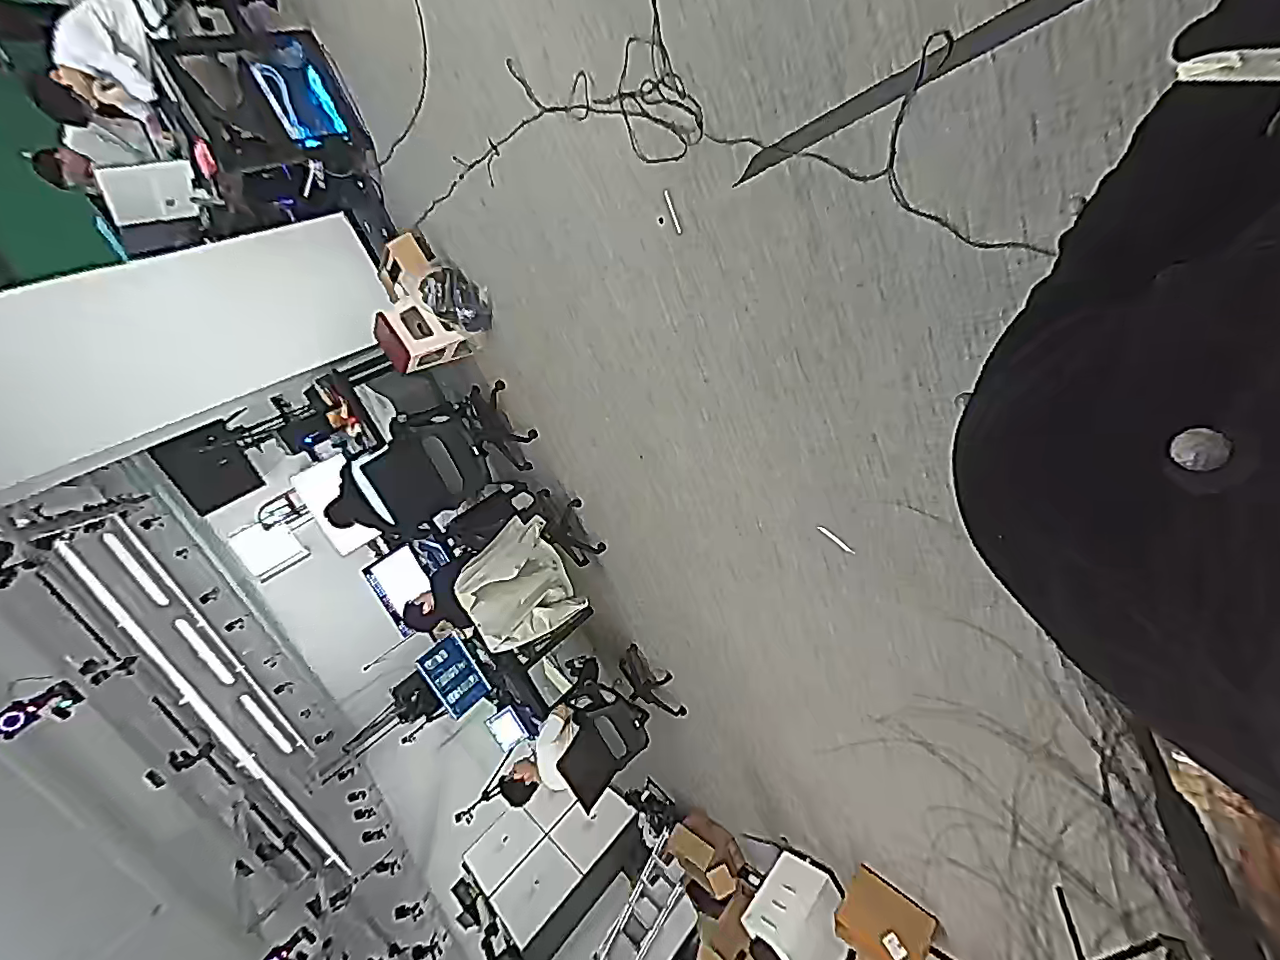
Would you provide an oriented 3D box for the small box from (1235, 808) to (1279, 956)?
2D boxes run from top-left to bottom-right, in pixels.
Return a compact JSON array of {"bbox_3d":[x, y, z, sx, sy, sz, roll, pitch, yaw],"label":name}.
[{"bbox_3d":[1.186,0.737,0.955,0.168,0.176,0.179,1,119,52],"label":"small box"}]

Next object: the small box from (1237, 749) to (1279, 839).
[{"bbox_3d":[1.298,0.663,1.047,0.179,0.176,0.168,0,119,54],"label":"small box"}]
